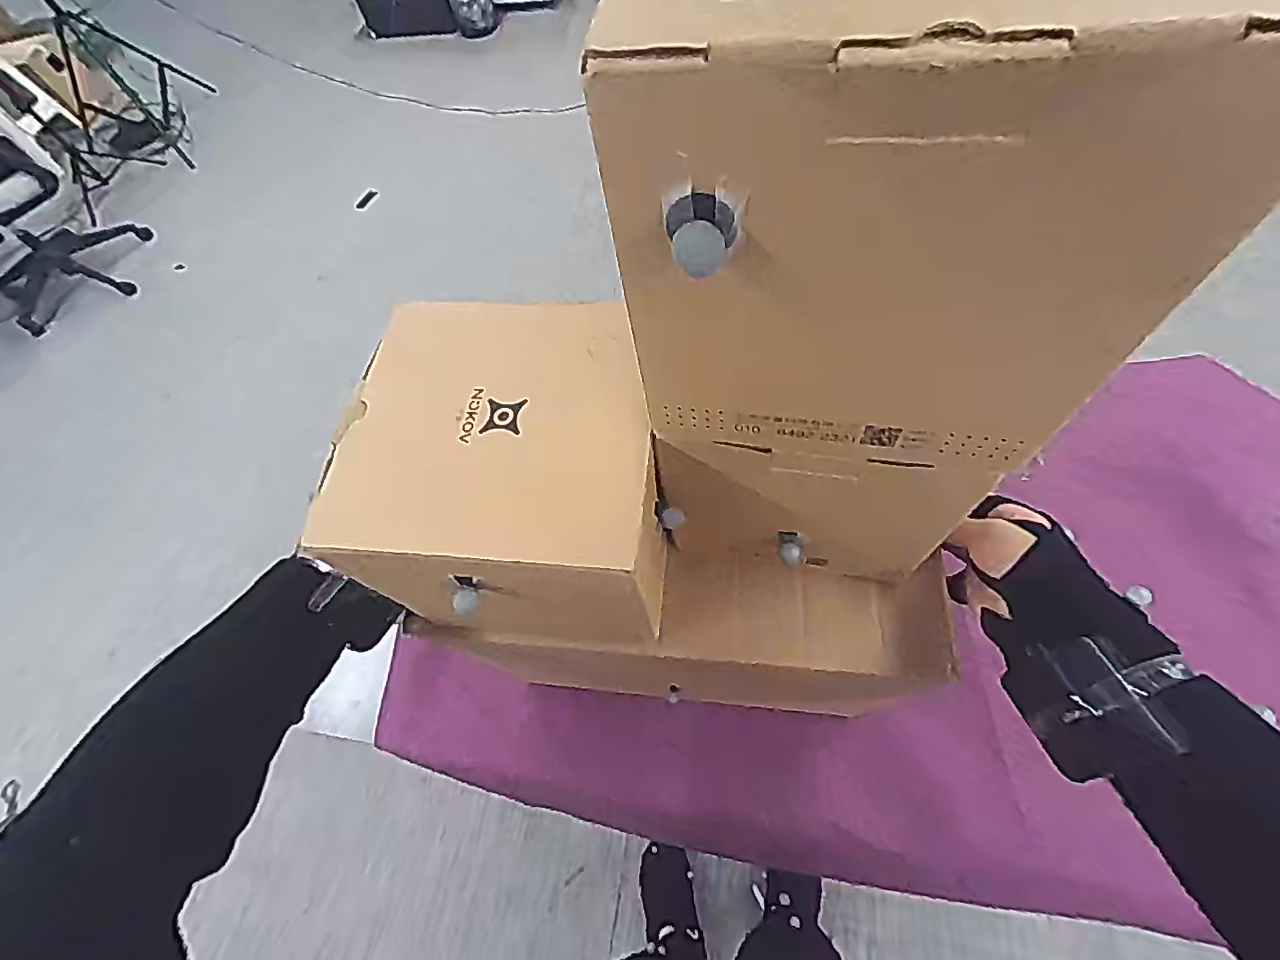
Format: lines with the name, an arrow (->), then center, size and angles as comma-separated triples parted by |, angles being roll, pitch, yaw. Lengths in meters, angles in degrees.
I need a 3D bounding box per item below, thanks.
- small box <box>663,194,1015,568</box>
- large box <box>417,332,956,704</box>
small box -> 0.117, -0.060, 0.364 | 0.168, 0.176, 0.179 | 7, 64, 13
large box -> 0.052, 0.058, 0.591 | 0.408, 0.320, 0.320 | 1, 61, 9
